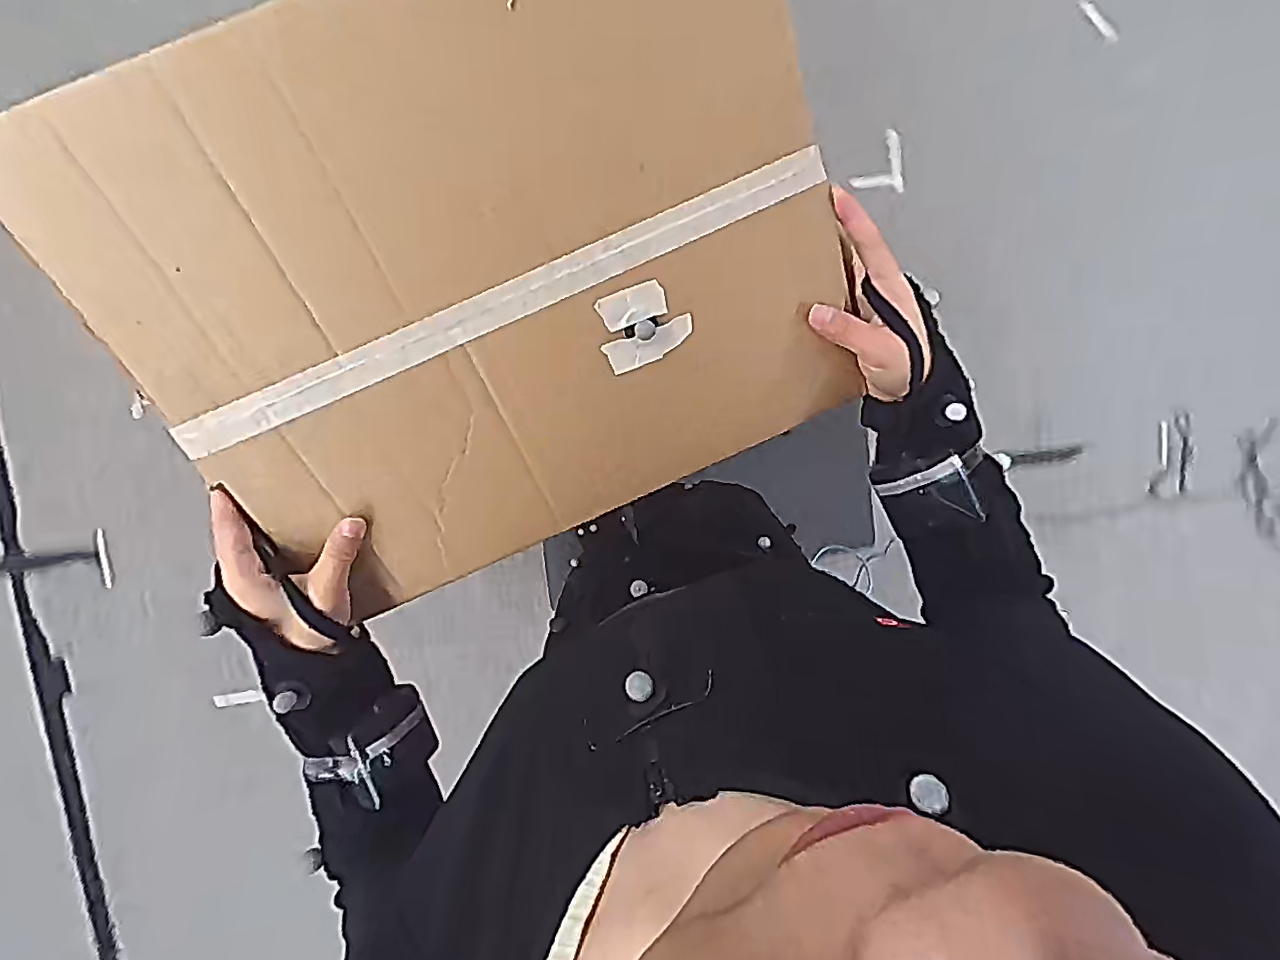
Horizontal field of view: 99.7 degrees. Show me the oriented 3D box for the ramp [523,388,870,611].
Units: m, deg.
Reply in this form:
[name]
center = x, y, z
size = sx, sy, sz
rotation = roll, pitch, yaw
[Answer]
[ramp]
center = 0.206, 0.022, 1.483
size = 0.991, 0.206, 0.509
rotation = -8, 94, -8
